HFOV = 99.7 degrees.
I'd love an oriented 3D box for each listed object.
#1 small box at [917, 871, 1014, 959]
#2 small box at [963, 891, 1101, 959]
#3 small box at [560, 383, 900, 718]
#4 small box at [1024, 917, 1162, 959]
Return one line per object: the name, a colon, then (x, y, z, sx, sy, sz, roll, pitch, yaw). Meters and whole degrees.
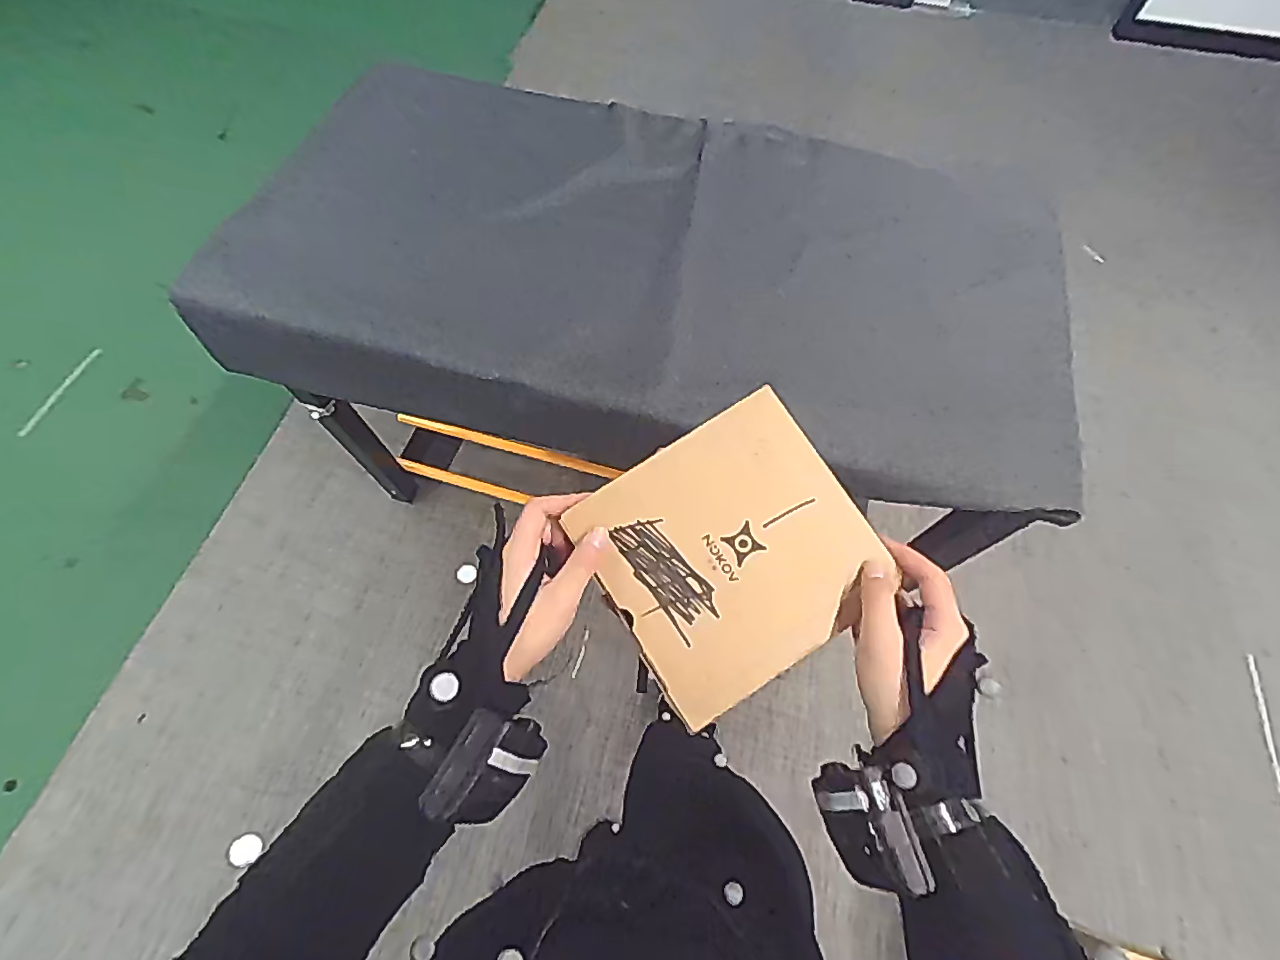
small box: (0.611, 0.833, 0.952, 0.168, 0.176, 0.179, 17, 66, 8)
small box: (0.609, 0.758, 0.807, 0.168, 0.176, 0.179, 15, 64, 5)
small box: (0.060, 0.057, 0.440, 0.179, 0.176, 0.168, -32, 81, -6)
small box: (0.613, 0.679, 0.663, 0.179, 0.176, 0.168, 16, 65, 7)
